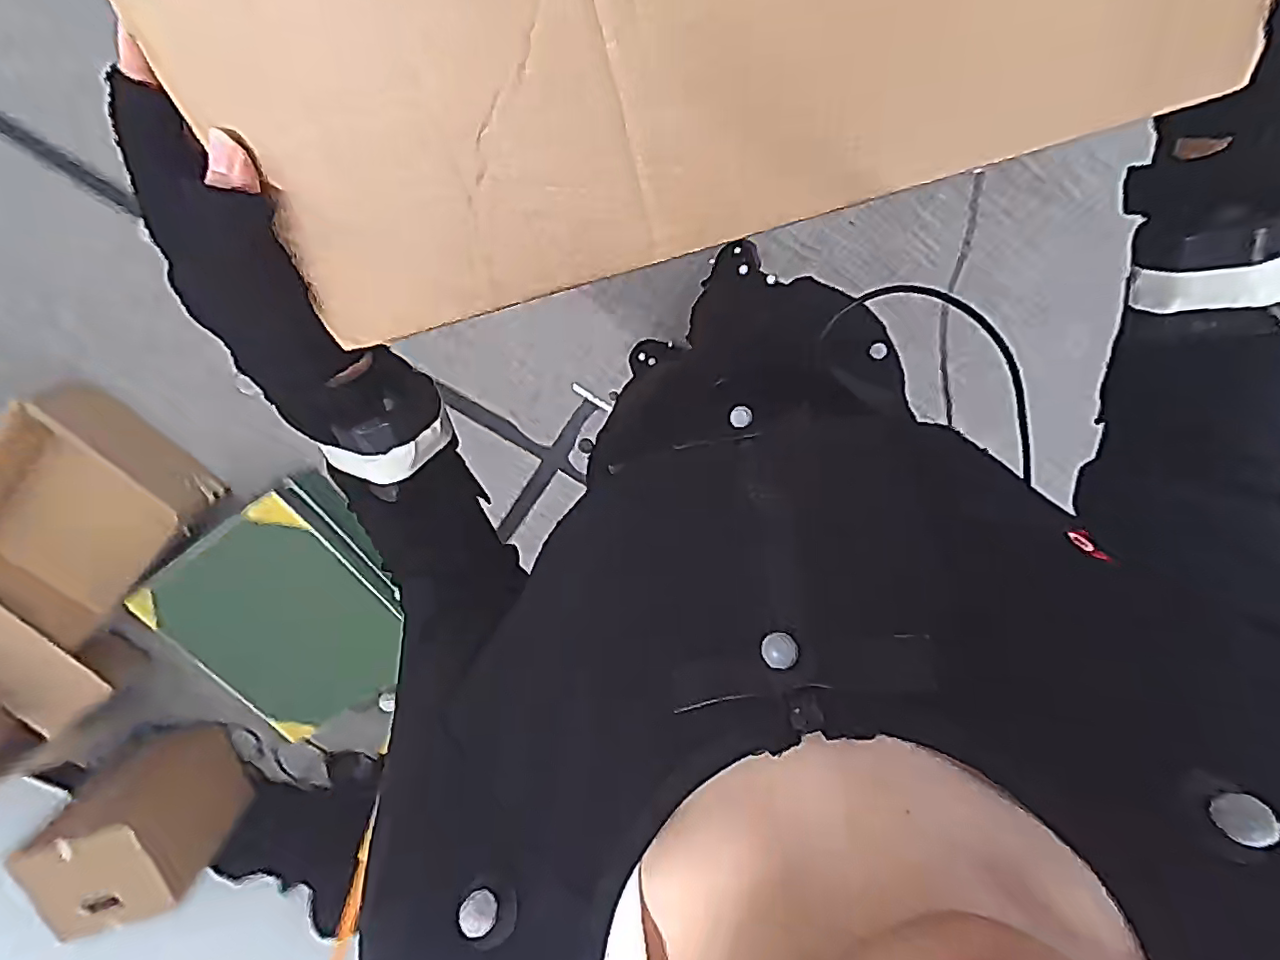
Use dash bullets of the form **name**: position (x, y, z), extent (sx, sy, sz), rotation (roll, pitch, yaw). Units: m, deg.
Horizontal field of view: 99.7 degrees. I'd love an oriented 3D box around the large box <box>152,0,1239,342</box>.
- **large box**: position (0.006, -0.322, 0.282), extent (0.408, 0.320, 0.320), rotation (-12, 126, 9)
